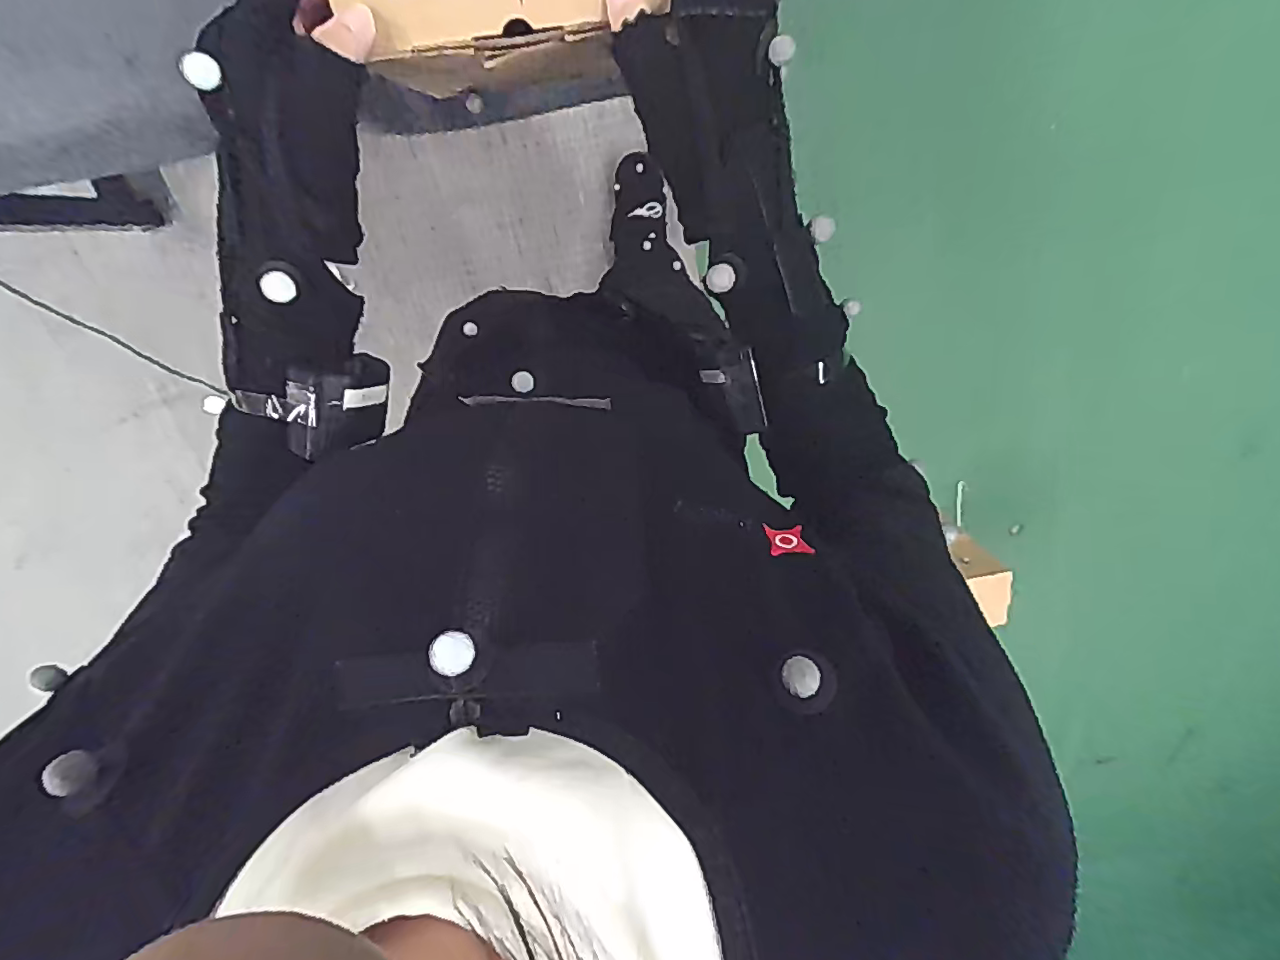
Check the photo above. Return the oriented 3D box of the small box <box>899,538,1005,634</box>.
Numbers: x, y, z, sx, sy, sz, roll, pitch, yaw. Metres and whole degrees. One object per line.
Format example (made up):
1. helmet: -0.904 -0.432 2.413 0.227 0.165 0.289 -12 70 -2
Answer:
1. small box: 0.806 0.269 1.411 0.179 0.176 0.168 -12 114 1

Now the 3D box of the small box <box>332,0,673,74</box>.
1. small box: -0.074 -0.332 0.283 0.168 0.176 0.179 -7 120 0
